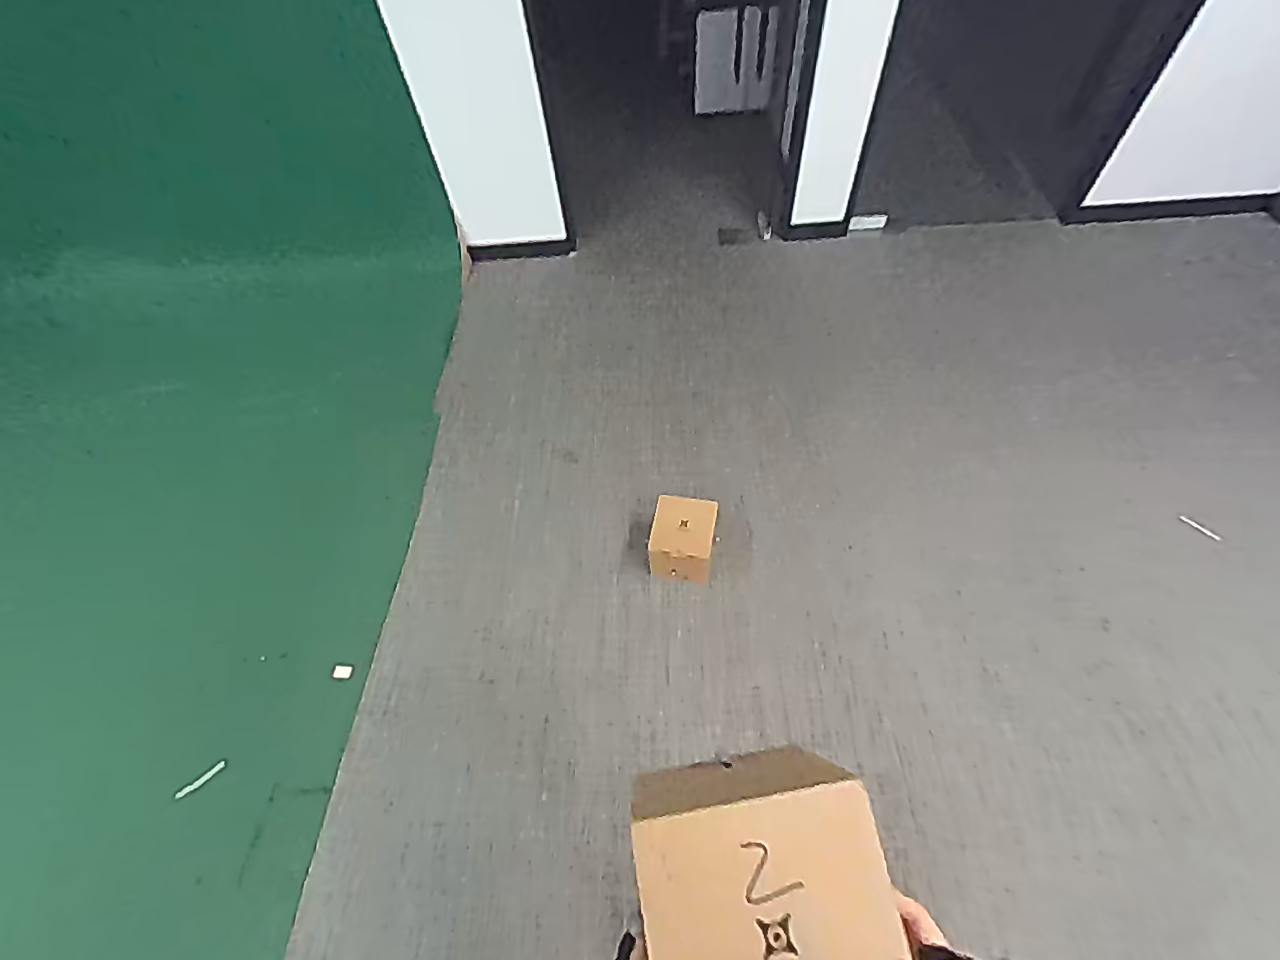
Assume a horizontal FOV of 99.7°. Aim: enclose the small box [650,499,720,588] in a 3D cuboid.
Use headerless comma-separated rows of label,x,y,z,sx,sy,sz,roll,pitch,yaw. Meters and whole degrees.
small box,0.126,0.181,1.518,0.168,0.176,0.179,8,57,10
